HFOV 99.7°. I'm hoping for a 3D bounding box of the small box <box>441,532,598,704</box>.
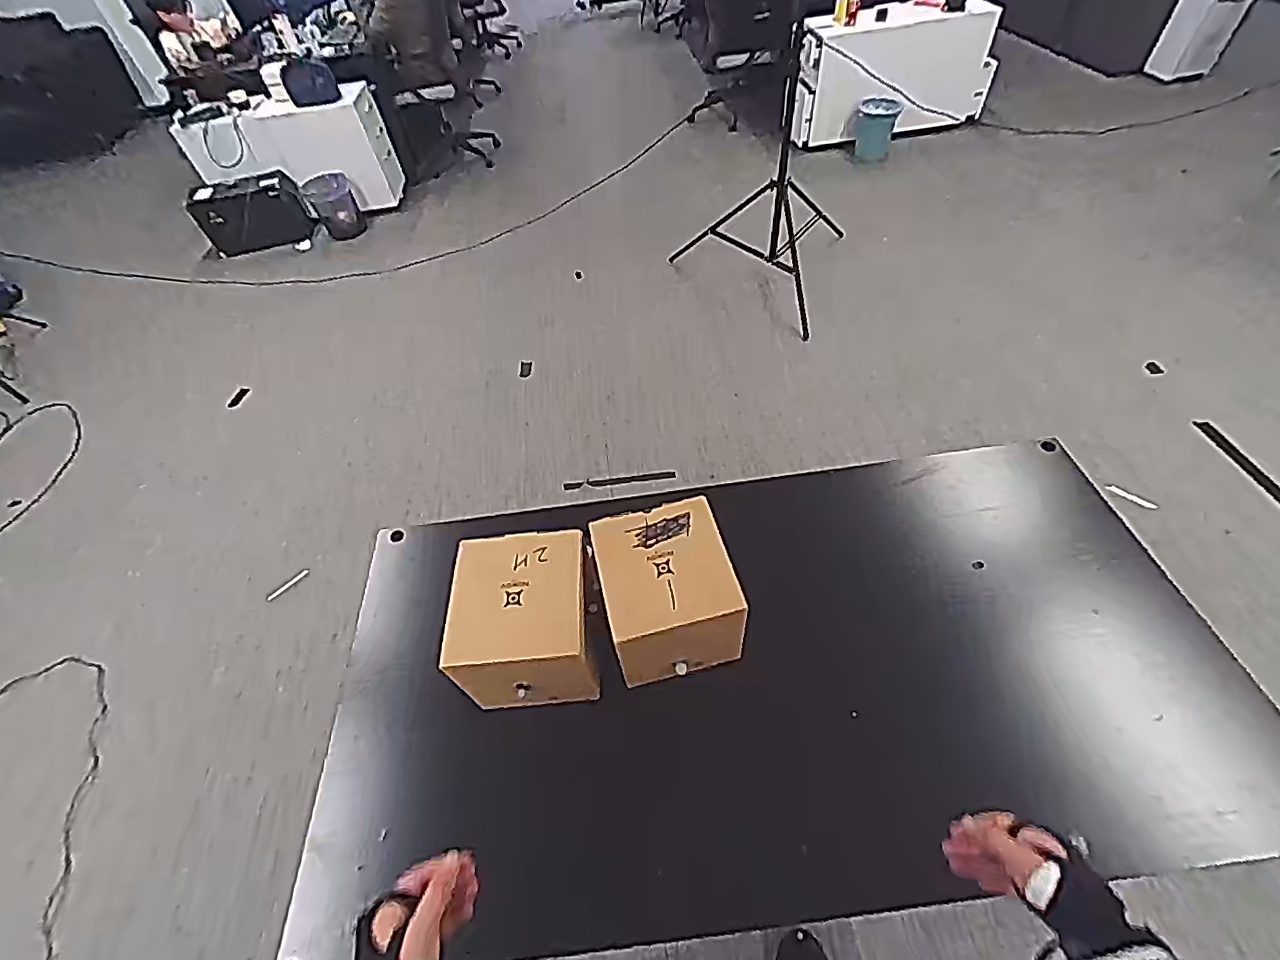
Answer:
[{"bbox_3d":[-0.150,0.195,0.740,0.168,0.176,0.179,-6,50,1],"label":"small box"}]
